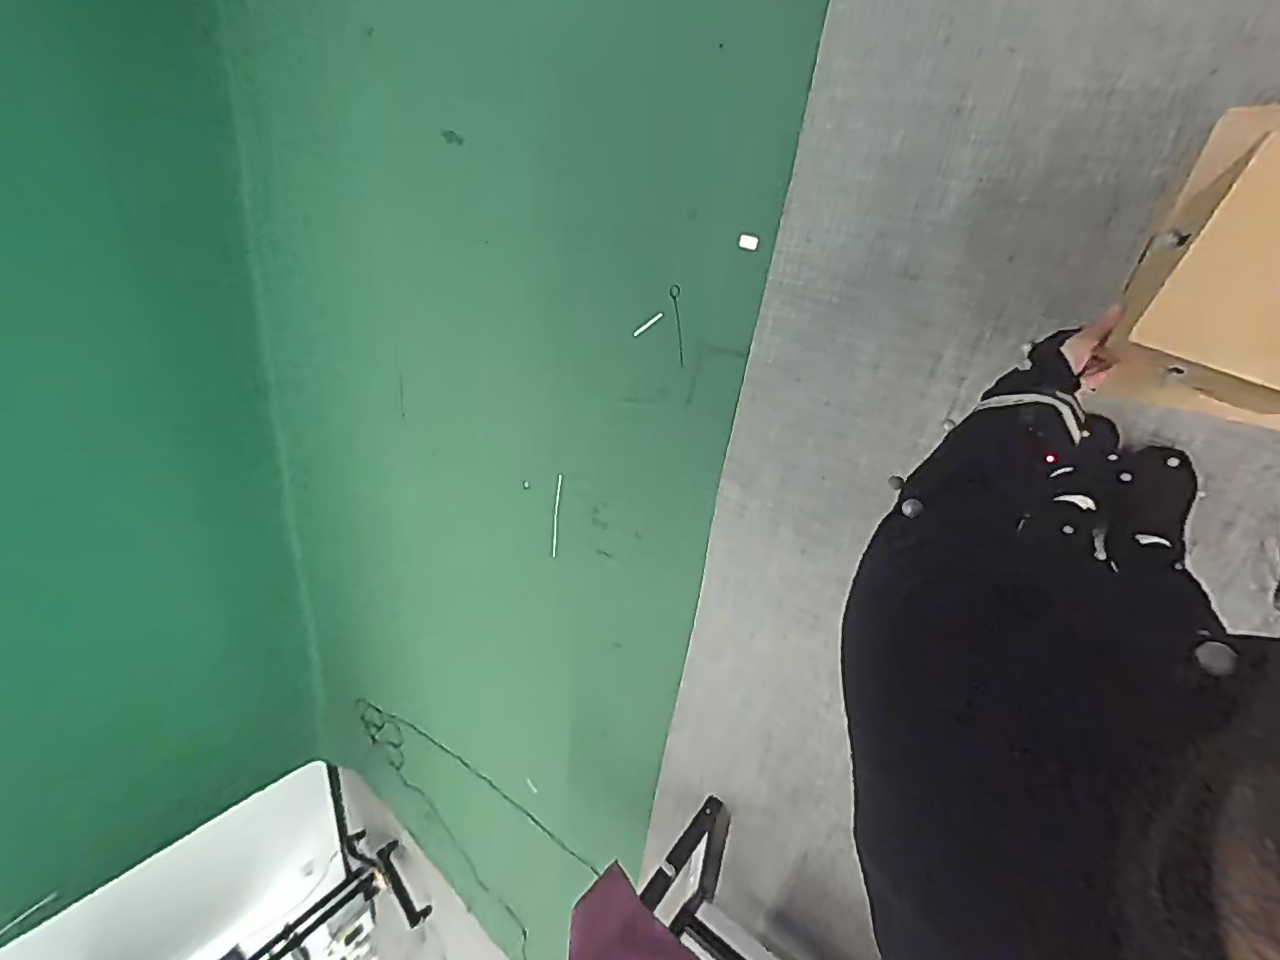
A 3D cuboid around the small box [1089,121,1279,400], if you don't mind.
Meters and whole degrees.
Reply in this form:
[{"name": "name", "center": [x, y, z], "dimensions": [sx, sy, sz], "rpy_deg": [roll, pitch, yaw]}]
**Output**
[{"name": "small box", "center": [0.558, -0.181, 0.494], "dimensions": [0.168, 0.176, 0.179], "rpy_deg": [31, 111, 22]}]
